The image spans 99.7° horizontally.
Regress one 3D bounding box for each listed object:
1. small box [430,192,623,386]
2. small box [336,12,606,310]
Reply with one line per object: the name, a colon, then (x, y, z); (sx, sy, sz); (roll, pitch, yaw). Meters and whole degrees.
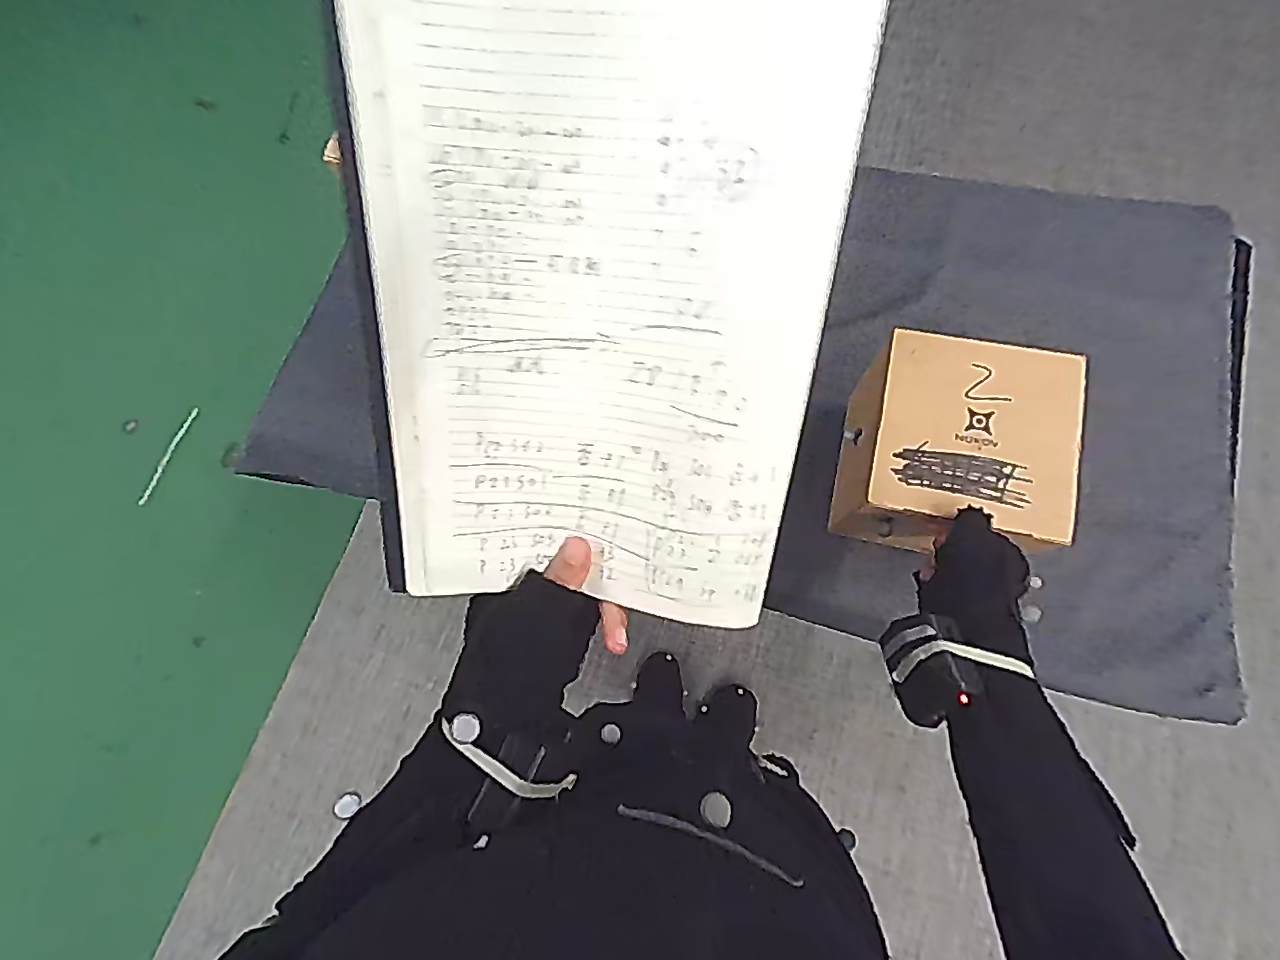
small box: (-0.126, -0.248, 0.685); (0.168, 0.176, 0.179); (16, 76, 10)
small box: (-0.142, -0.297, 0.530); (0.168, 0.176, 0.179); (18, 76, 10)
